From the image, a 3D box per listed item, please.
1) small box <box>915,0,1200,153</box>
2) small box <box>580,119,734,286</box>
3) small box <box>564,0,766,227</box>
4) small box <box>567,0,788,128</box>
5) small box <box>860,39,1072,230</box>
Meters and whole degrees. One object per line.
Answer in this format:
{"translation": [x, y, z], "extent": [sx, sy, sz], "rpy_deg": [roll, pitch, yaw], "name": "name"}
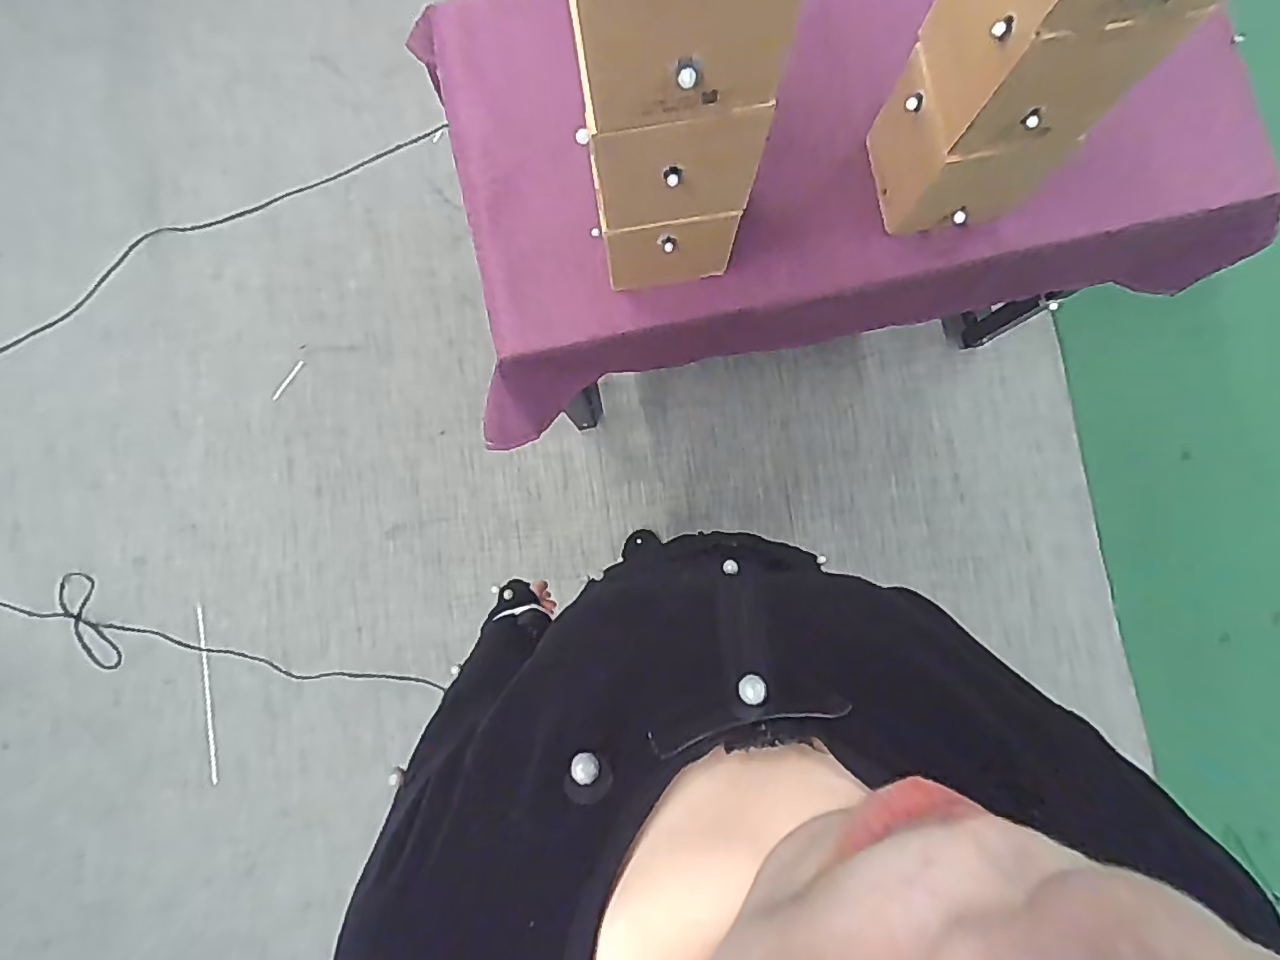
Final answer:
{"translation": [0.427, -0.501, 0.588], "extent": [0.168, 0.176, 0.179], "rpy_deg": [-9, 86, 1], "name": "small box"}
{"translation": [0.023, -0.388, 0.753], "extent": [0.179, 0.176, 0.168], "rpy_deg": [-8, 85, 0], "name": "small box"}
{"translation": [0.024, -0.406, 0.590], "extent": [0.179, 0.176, 0.168], "rpy_deg": [-9, 85, 2], "name": "small box"}
{"translation": [0.018, -0.427, 0.426], "extent": [0.168, 0.176, 0.179], "rpy_deg": [-10, 86, 1], "name": "small box"}
{"translation": [0.435, -0.476, 0.749], "extent": [0.179, 0.176, 0.168], "rpy_deg": [-10, 84, 0], "name": "small box"}
